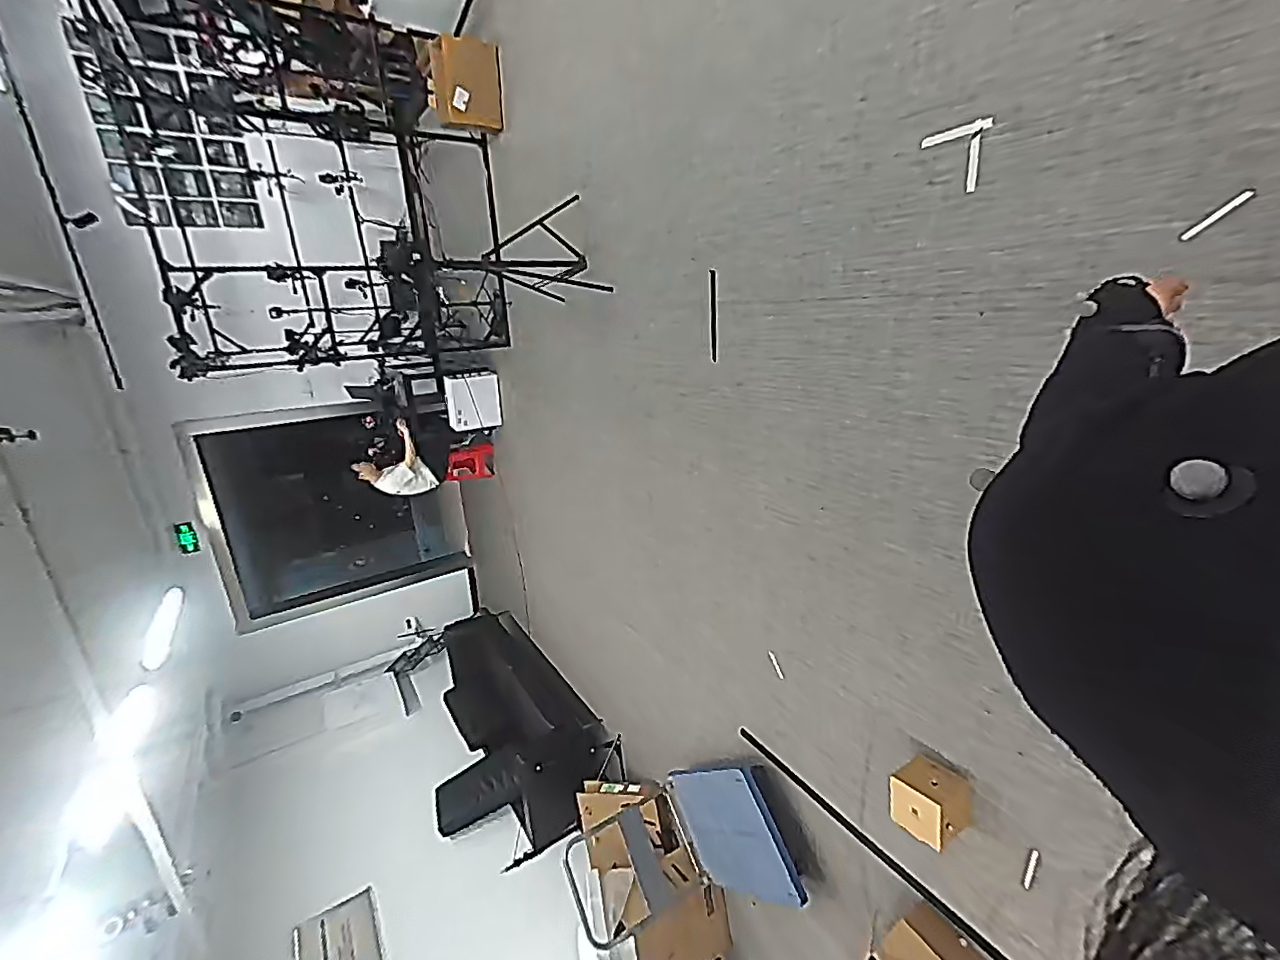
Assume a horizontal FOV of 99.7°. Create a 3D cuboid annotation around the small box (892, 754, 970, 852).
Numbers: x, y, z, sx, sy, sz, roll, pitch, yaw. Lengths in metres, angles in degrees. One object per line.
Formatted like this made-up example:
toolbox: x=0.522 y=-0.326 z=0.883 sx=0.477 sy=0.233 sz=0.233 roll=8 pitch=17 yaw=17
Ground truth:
small box: x=0.938 y=1.028 z=1.740 sx=0.168 sy=0.176 sz=0.179 roll=13 pitch=113 yaw=57
